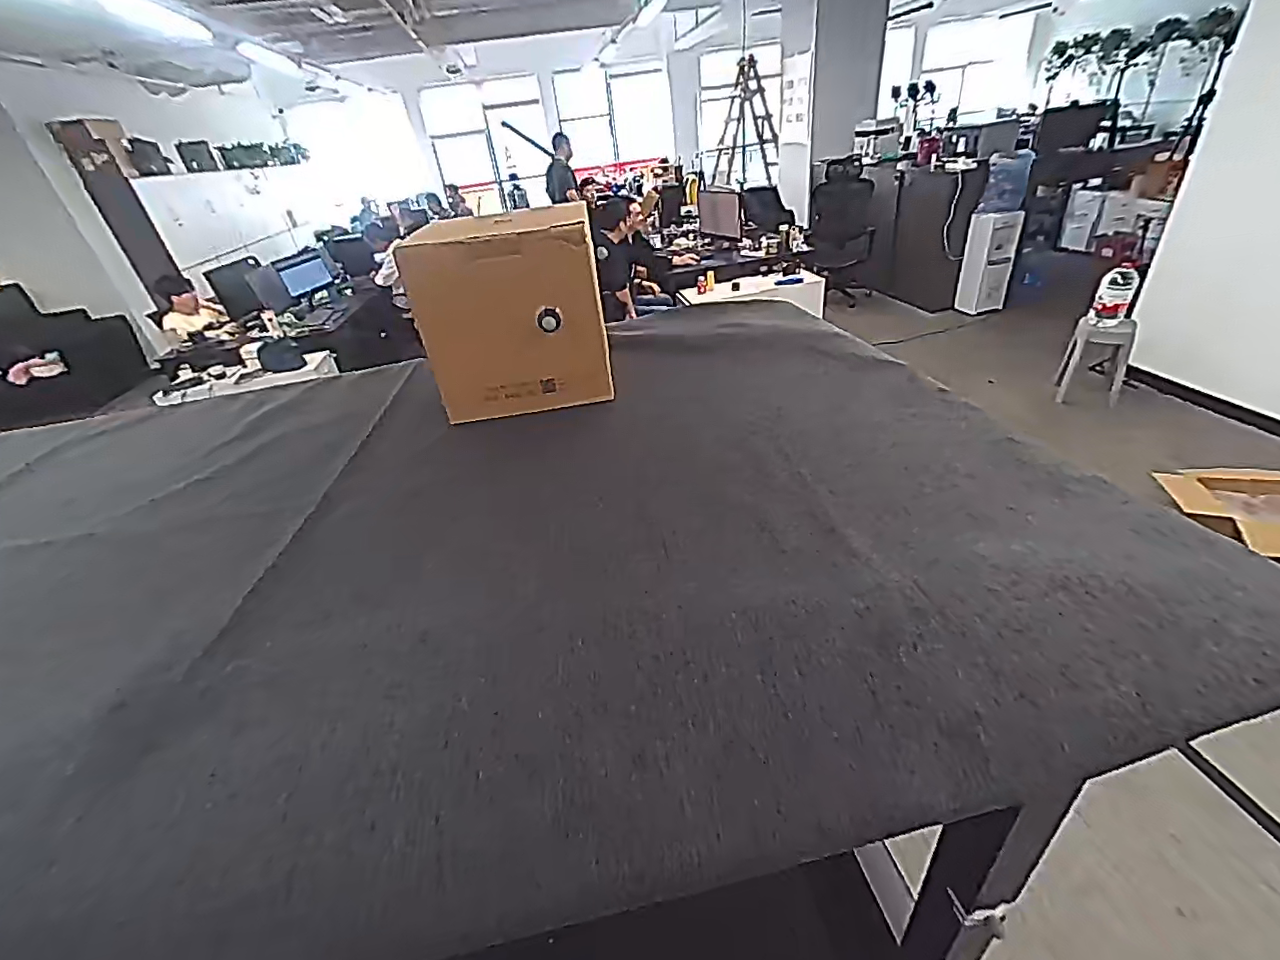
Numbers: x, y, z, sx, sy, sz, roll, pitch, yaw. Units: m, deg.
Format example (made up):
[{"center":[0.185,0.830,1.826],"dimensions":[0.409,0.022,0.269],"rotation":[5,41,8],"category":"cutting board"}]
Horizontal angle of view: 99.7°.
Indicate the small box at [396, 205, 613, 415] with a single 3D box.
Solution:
[{"center":[-0.122,-0.174,0.562],"dimensions":[0.168,0.176,0.179],"rotation":[-8,32,-2],"category":"small box"}]
